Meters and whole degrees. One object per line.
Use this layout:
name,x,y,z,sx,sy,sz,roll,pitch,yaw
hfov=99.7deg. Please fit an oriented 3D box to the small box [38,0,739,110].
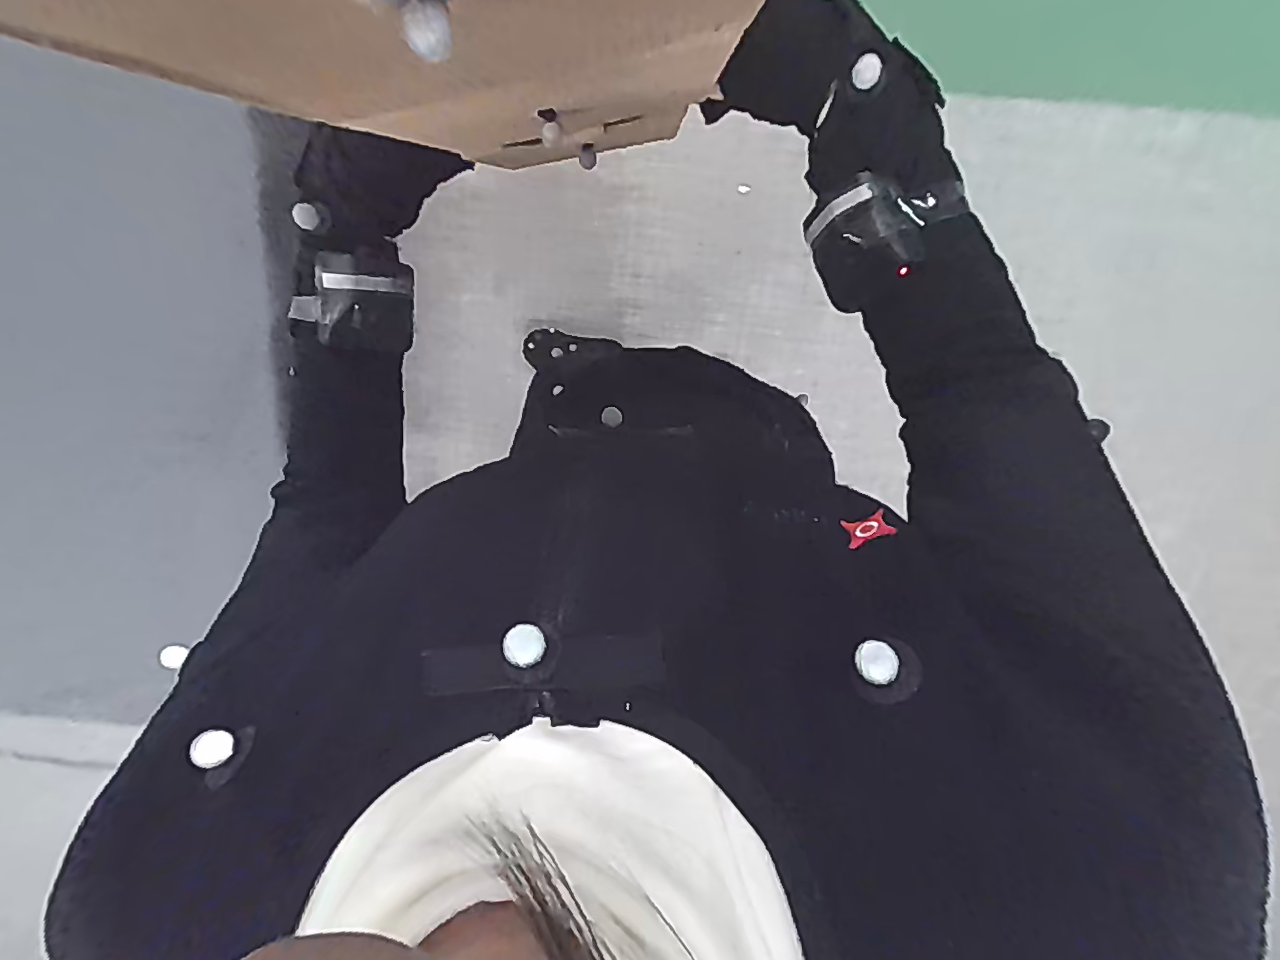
small box,-0.055,-0.202,0.117,0.179,0.176,0.168,-9,118,6
